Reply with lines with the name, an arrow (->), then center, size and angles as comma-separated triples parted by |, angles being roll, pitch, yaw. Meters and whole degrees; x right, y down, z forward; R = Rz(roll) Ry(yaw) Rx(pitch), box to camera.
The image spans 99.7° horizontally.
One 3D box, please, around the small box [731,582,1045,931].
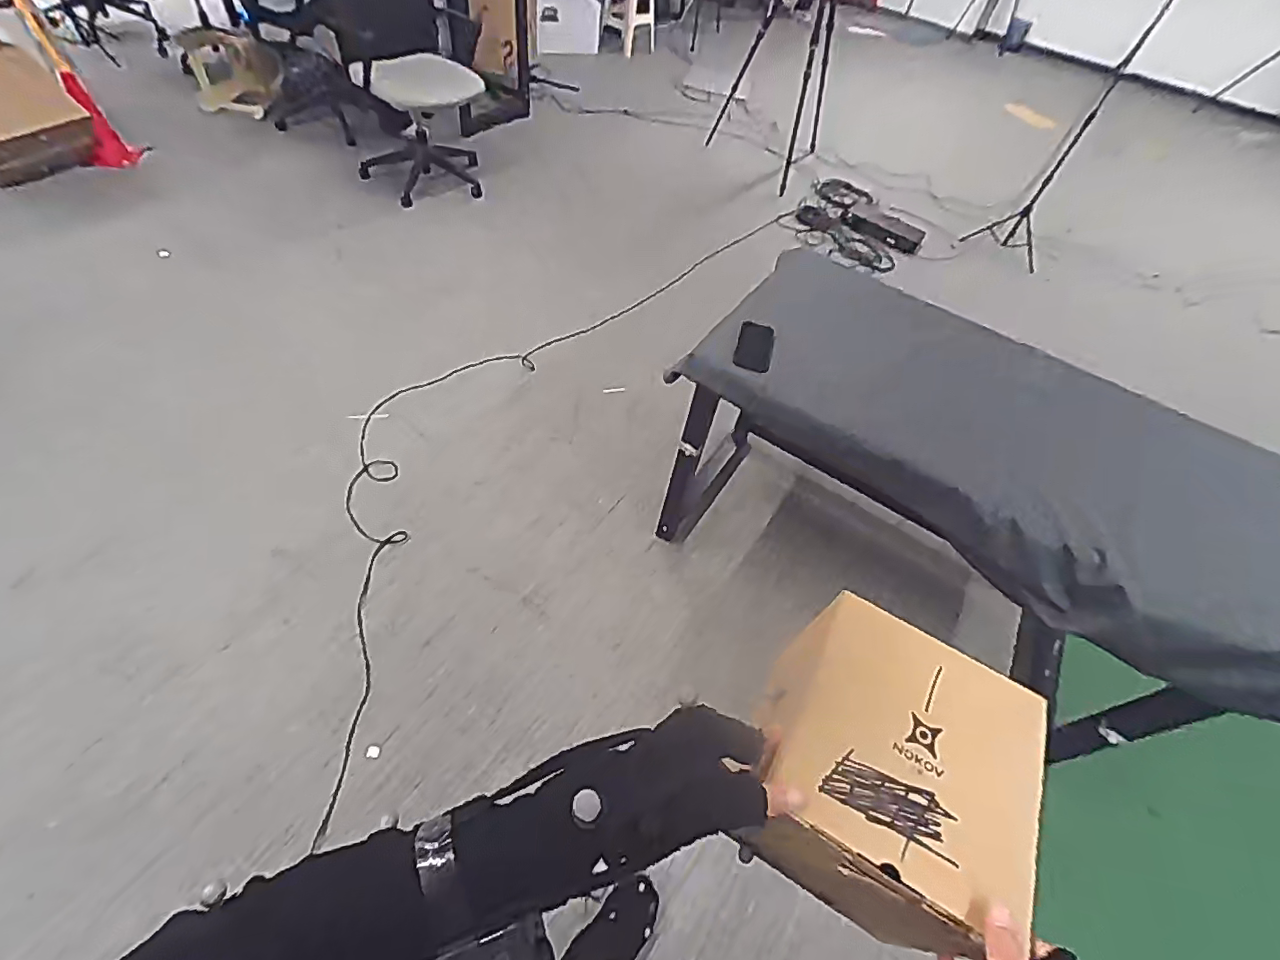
small box -> 0.191, 0.226, 0.451 | 0.168, 0.176, 0.179 | 29, 53, 12
